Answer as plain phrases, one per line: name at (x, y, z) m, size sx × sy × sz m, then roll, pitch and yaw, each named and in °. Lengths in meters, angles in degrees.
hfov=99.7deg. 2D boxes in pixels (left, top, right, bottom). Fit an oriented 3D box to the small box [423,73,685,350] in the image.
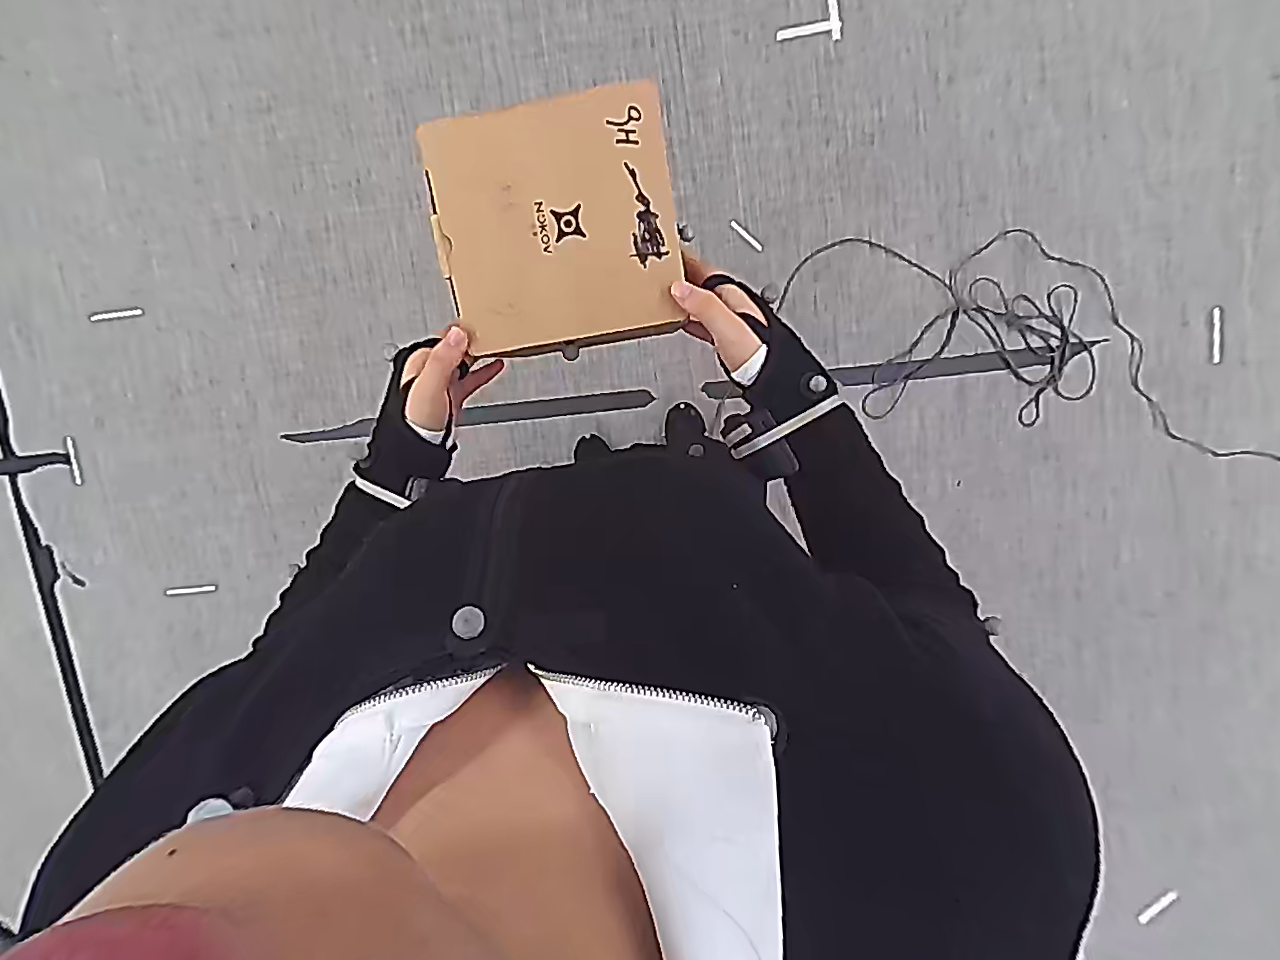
small box at (-0.058, -0.211, 0.476) m, size 0.179 × 0.176 × 0.168 m, roll -8°, pitch 102°, yaw 3°
